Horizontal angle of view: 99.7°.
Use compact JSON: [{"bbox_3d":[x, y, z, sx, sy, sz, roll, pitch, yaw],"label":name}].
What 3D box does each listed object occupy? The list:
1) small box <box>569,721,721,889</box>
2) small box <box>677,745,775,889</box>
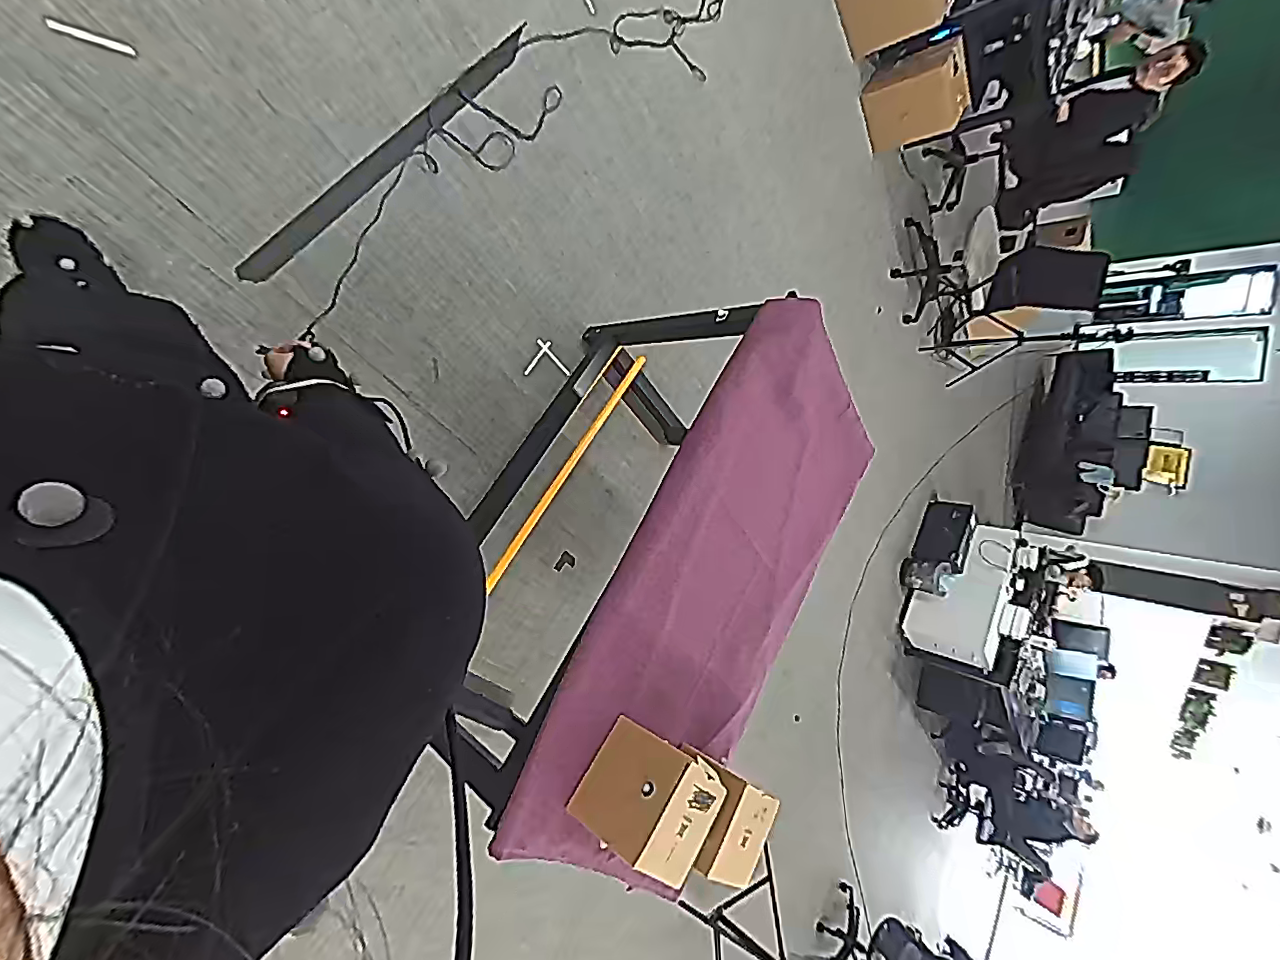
[{"bbox_3d":[0.009,0.556,0.944,0.179,0.176,0.168,-54,131,-25],"label":"small box"},{"bbox_3d":[0.140,0.678,1.098,0.168,0.176,0.179,48,63,-38],"label":"small box"}]
